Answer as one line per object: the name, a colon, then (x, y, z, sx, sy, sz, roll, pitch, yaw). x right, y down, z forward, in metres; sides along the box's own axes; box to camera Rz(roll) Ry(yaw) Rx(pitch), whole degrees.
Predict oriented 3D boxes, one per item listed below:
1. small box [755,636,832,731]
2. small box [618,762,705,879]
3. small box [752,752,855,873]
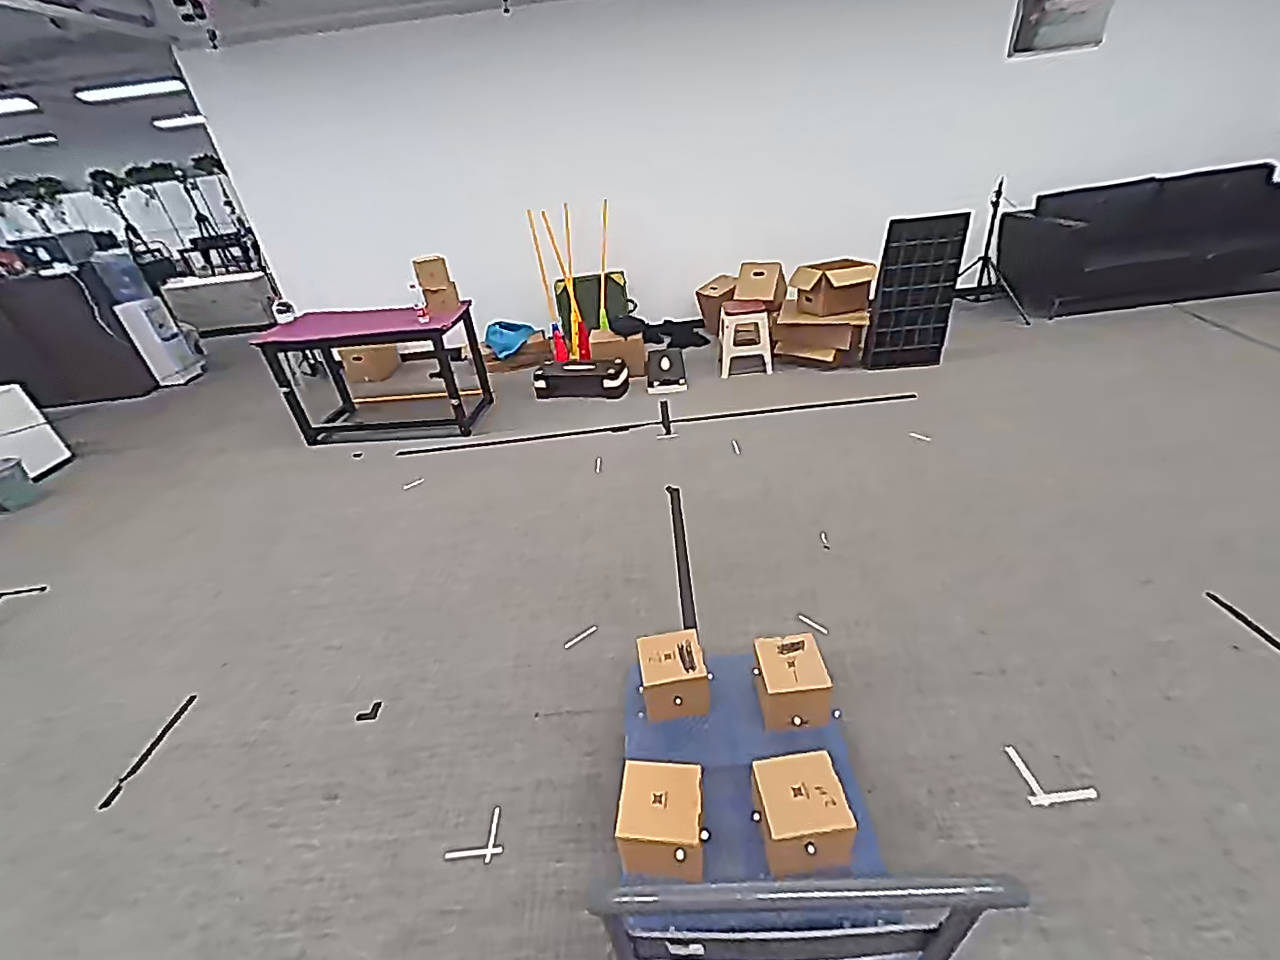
small box: (0.413, 0.557, 1.484, 0.168, 0.176, 0.179, -7, 33, 2)
small box: (0.055, 0.769, 1.223, 0.179, 0.176, 0.168, 0, 32, 8)
small box: (0.357, 0.742, 1.204, 0.179, 0.176, 0.168, -8, 32, -1)
